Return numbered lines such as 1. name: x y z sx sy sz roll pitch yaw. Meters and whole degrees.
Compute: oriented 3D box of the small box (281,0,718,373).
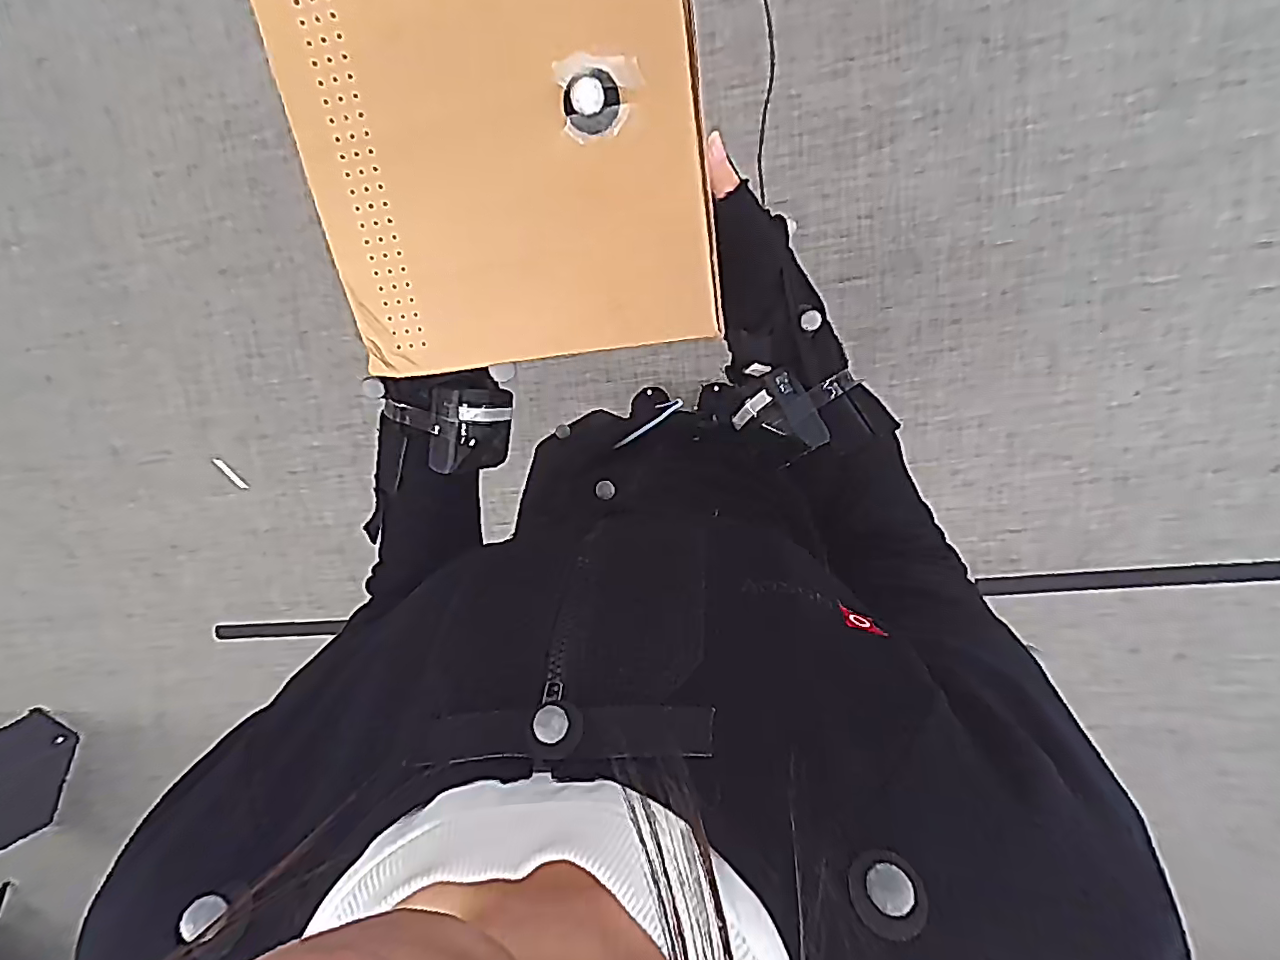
1. small box: -0.052 -0.167 0.298 0.176 0.168 0.179 -5 111 10
